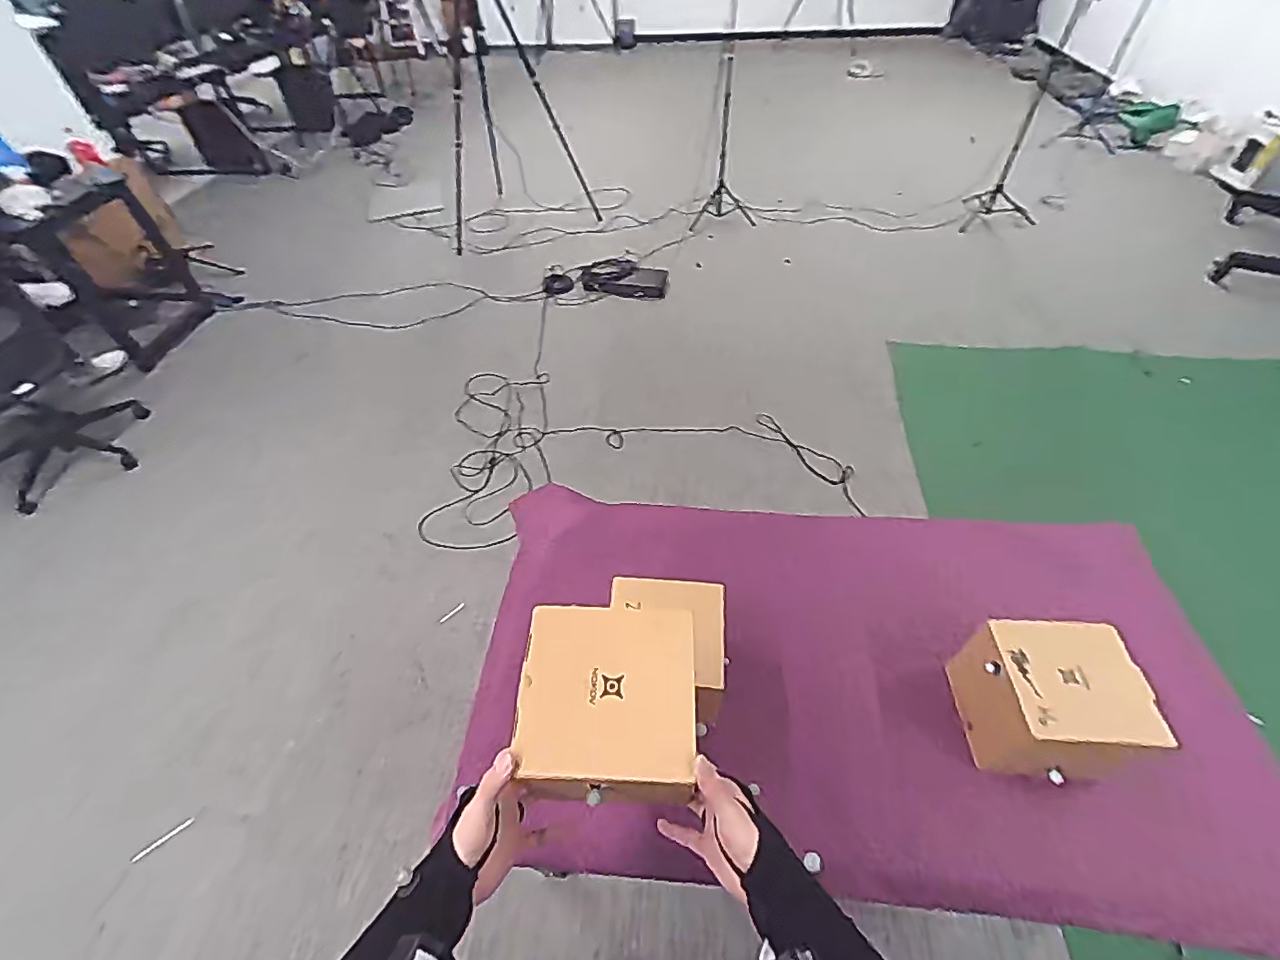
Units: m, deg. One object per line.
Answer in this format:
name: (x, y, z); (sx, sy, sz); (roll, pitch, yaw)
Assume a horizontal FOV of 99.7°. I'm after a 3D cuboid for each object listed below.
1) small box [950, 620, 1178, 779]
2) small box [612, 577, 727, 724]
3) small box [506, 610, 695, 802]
small box: (0.591, 0.322, 0.786); (0.179, 0.176, 0.168); (2, 48, 5)
small box: (0.043, 0.275, 0.860); (0.179, 0.176, 0.168); (3, 48, 6)
small box: (-0.031, 0.256, 0.605); (0.179, 0.176, 0.168); (0, 54, 4)
